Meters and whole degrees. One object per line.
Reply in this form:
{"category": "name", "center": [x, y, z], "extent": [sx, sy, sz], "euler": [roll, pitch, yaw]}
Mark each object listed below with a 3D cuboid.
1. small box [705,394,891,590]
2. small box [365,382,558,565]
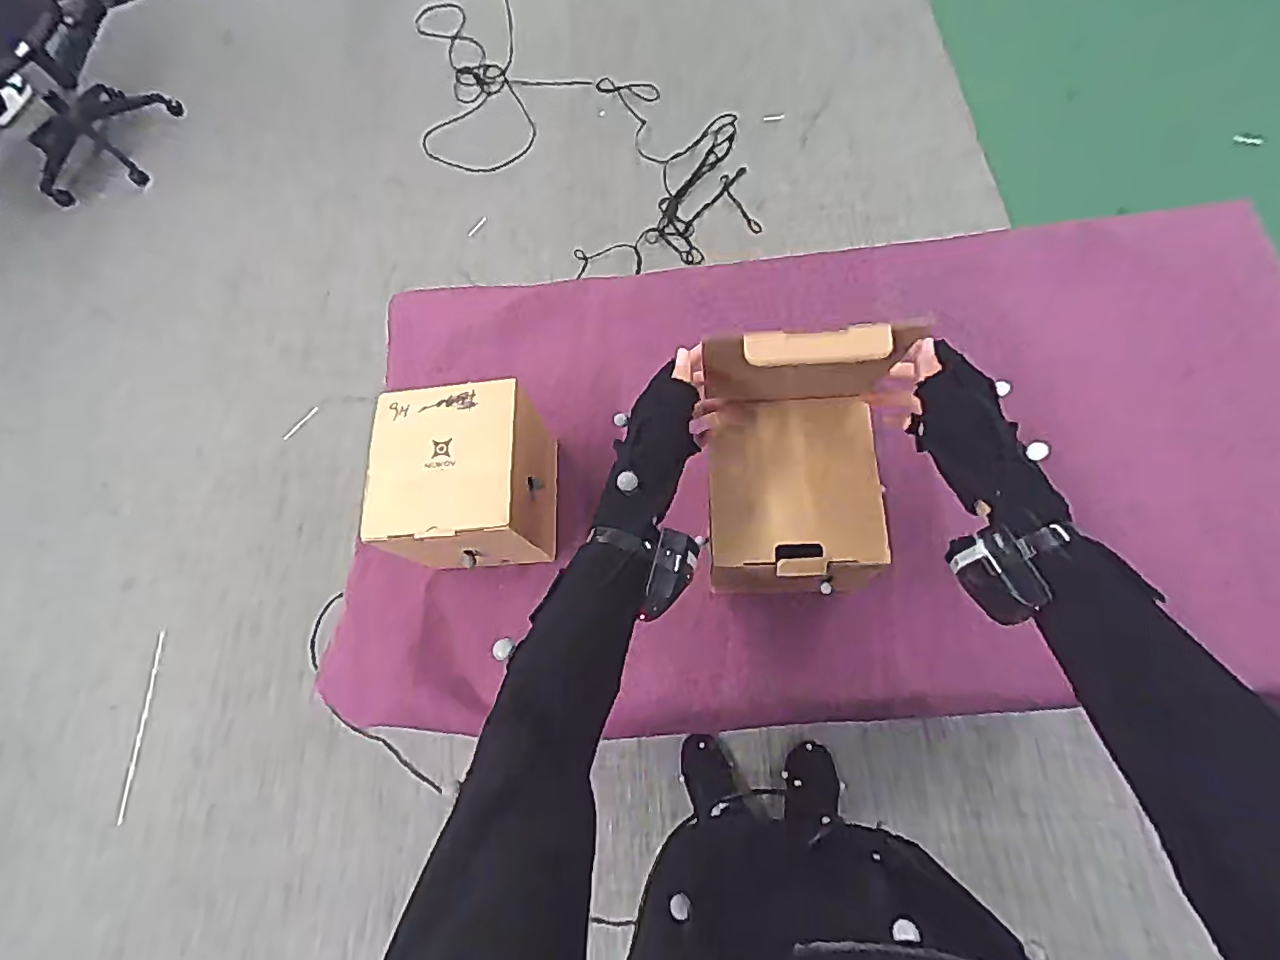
{"category": "small box", "center": [0.159, 0.025, 0.597], "extent": [0.168, 0.176, 0.179], "euler": [-2, 69, 8]}
{"category": "small box", "center": [-0.201, 0.005, 0.659], "extent": [0.168, 0.176, 0.179], "euler": [-5, 70, 6]}
